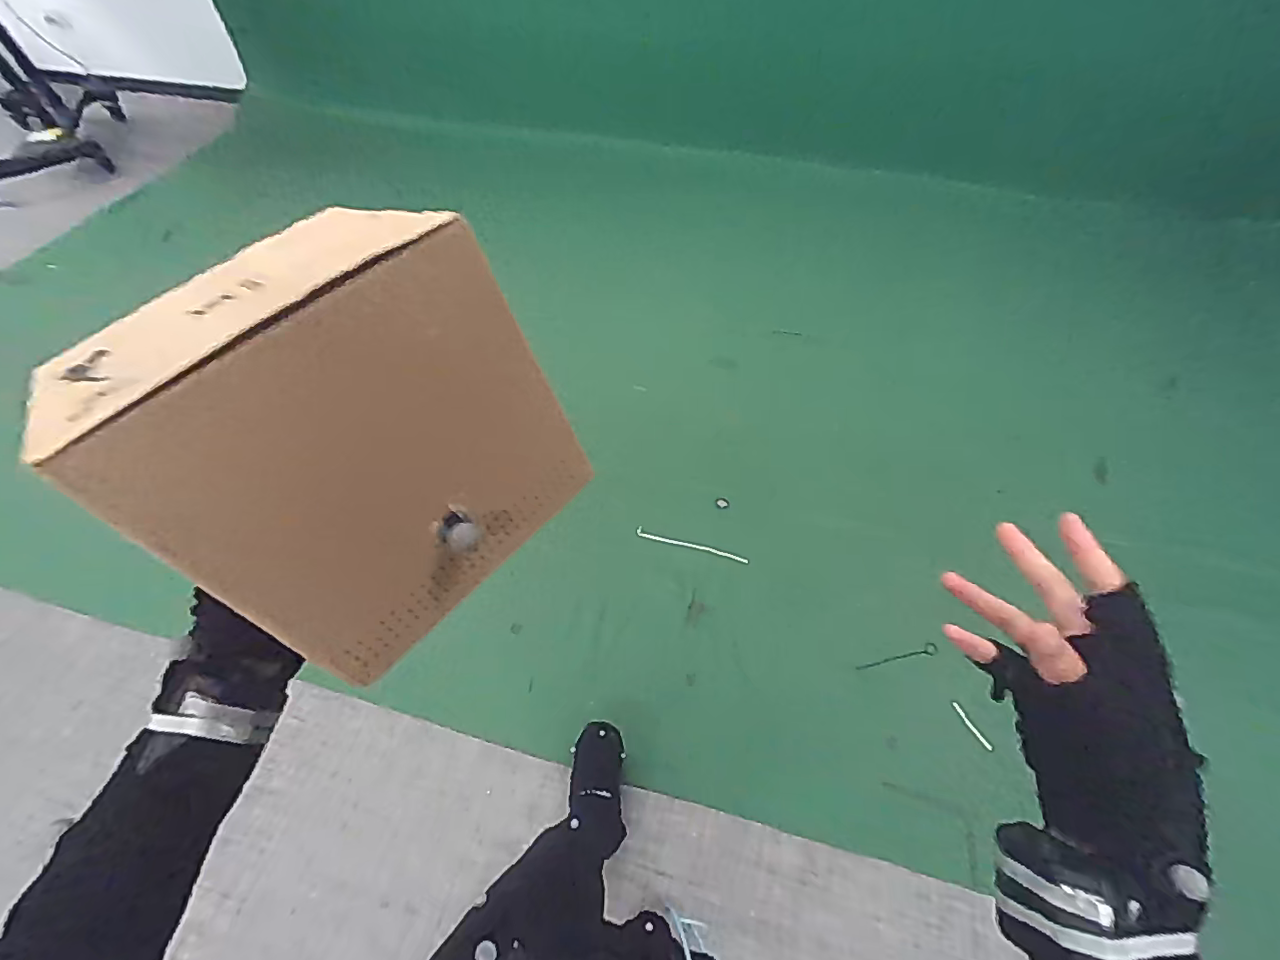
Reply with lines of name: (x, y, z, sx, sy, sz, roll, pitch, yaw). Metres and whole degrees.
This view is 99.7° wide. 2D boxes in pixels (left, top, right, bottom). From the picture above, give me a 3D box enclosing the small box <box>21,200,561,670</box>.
small box: (-0.166, -0.034, 0.304, 0.168, 0.176, 0.179, 25, 60, 40)
